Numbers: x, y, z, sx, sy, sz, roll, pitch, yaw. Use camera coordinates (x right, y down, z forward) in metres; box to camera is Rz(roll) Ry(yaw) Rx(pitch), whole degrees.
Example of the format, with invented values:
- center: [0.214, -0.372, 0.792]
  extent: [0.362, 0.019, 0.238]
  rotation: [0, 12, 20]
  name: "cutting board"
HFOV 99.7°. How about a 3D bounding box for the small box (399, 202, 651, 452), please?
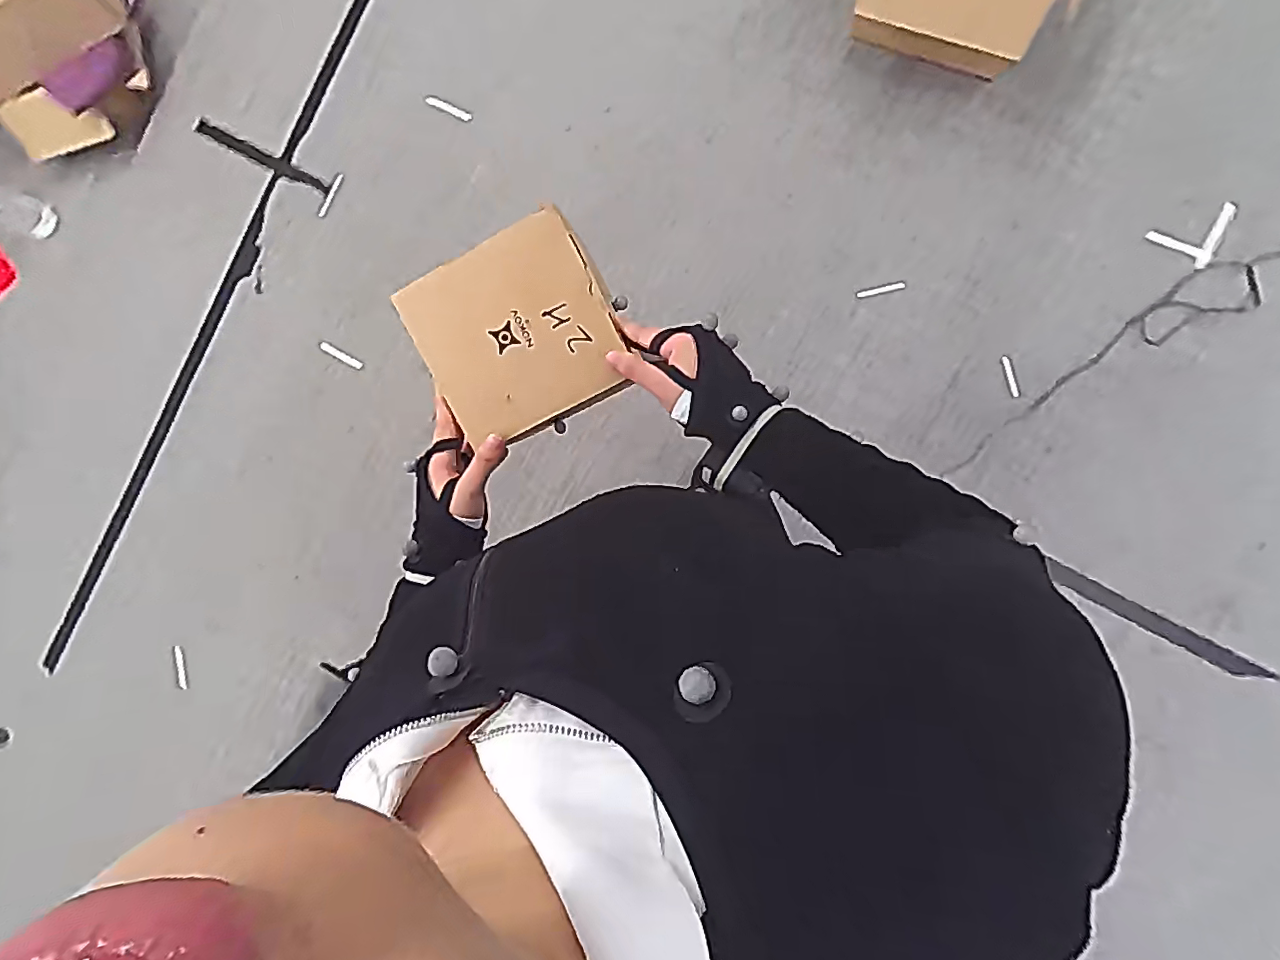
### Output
- center: [-0.100, -0.144, 0.559]
  extent: [0.179, 0.176, 0.168]
  rotation: [-25, 98, 8]
  name: "small box"
